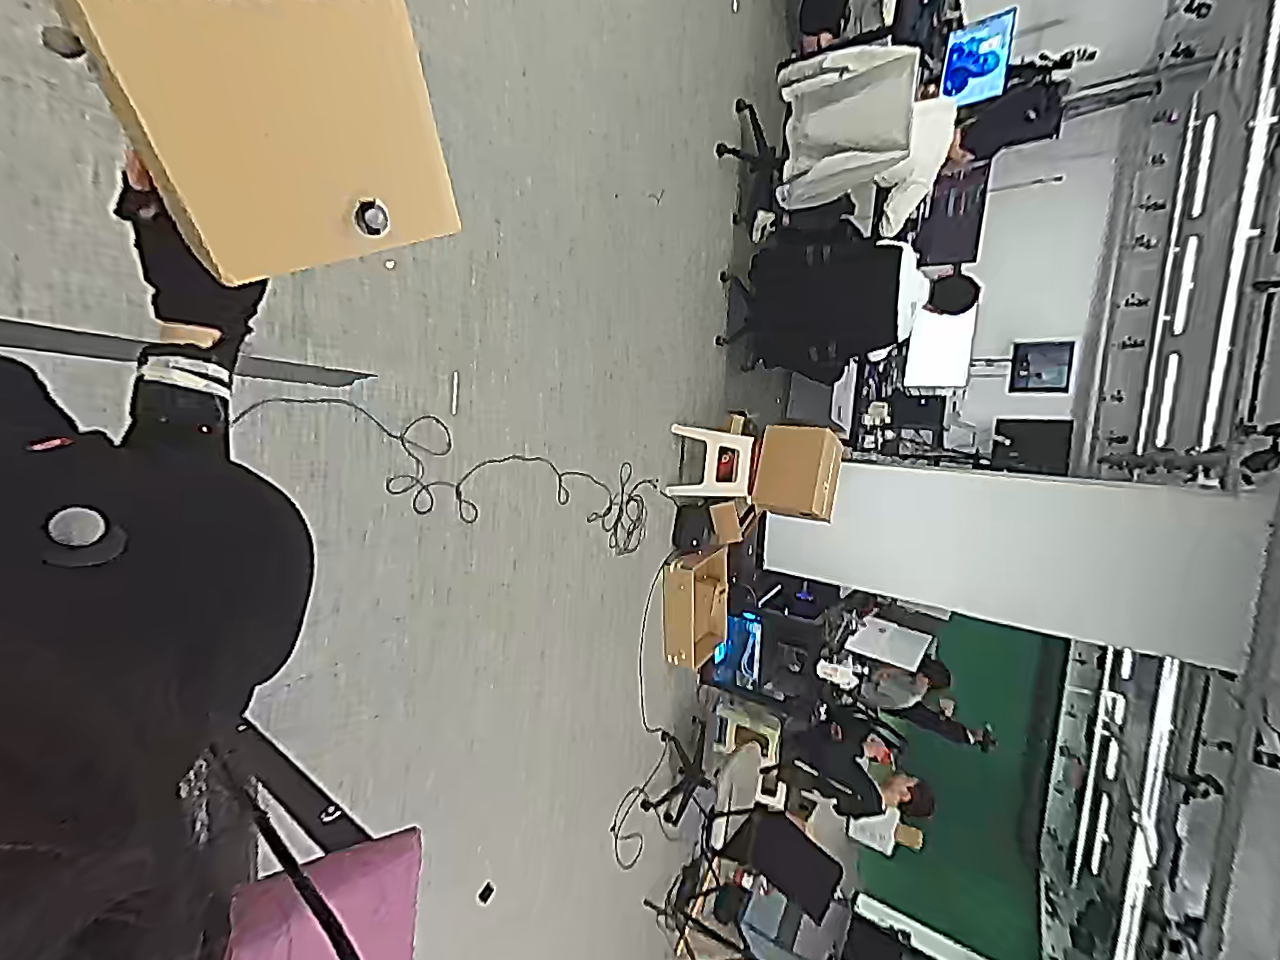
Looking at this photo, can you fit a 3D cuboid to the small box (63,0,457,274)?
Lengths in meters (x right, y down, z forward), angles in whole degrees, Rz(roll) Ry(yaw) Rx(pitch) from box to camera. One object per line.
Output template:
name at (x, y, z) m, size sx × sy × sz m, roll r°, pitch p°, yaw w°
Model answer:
small box at (-0.257, -0.263, 0.377) m, size 0.168 × 0.179 × 0.176 m, roll -29°, pitch 135°, yaw -30°
